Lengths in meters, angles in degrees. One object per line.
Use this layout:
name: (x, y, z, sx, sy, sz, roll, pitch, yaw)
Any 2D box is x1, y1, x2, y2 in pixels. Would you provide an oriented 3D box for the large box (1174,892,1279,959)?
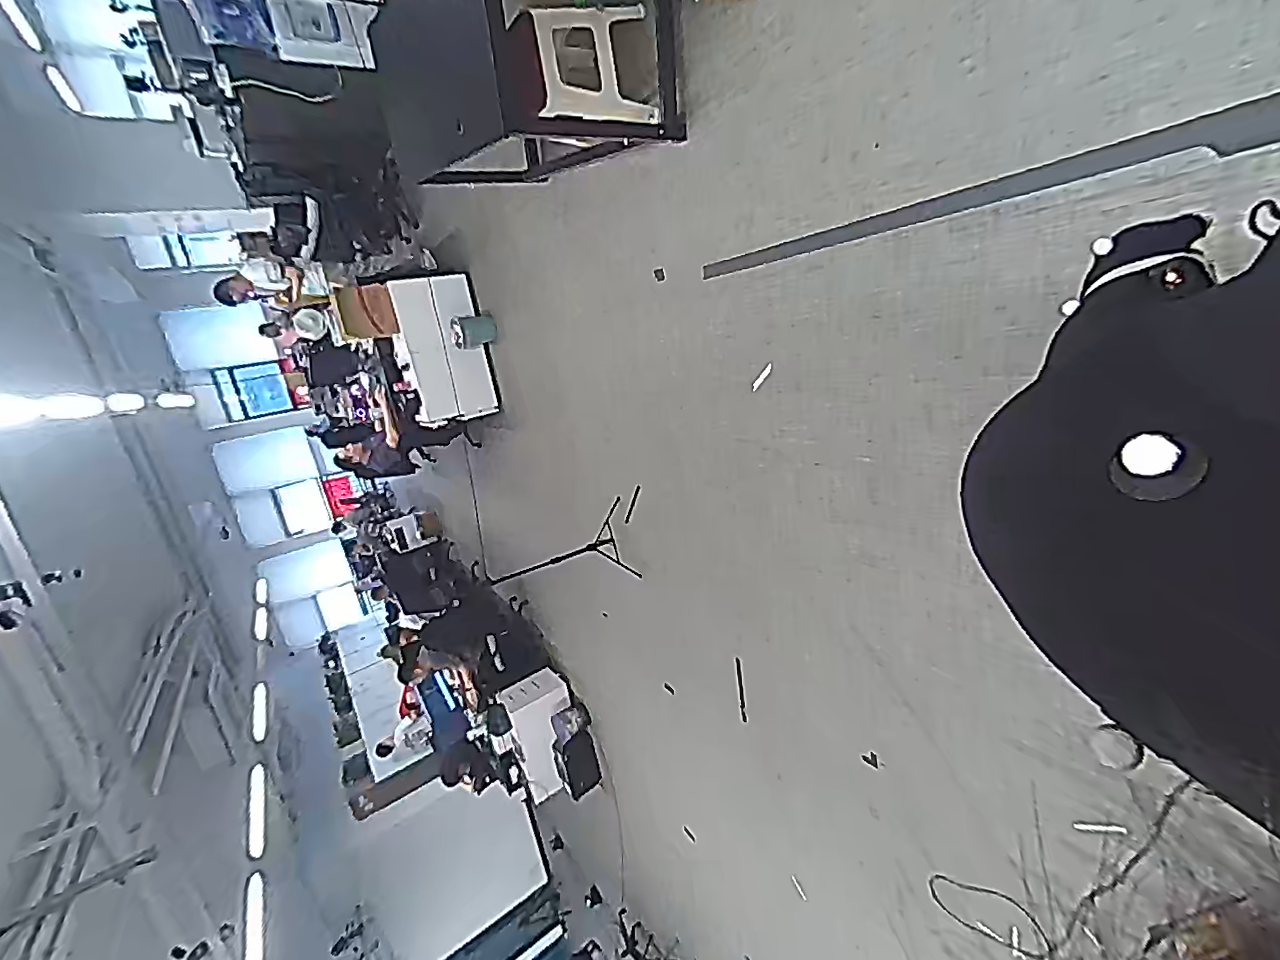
large box: (1.429, 1.247, 1.169, 0.408, 0.320, 0.320, 22, 125, 50)
